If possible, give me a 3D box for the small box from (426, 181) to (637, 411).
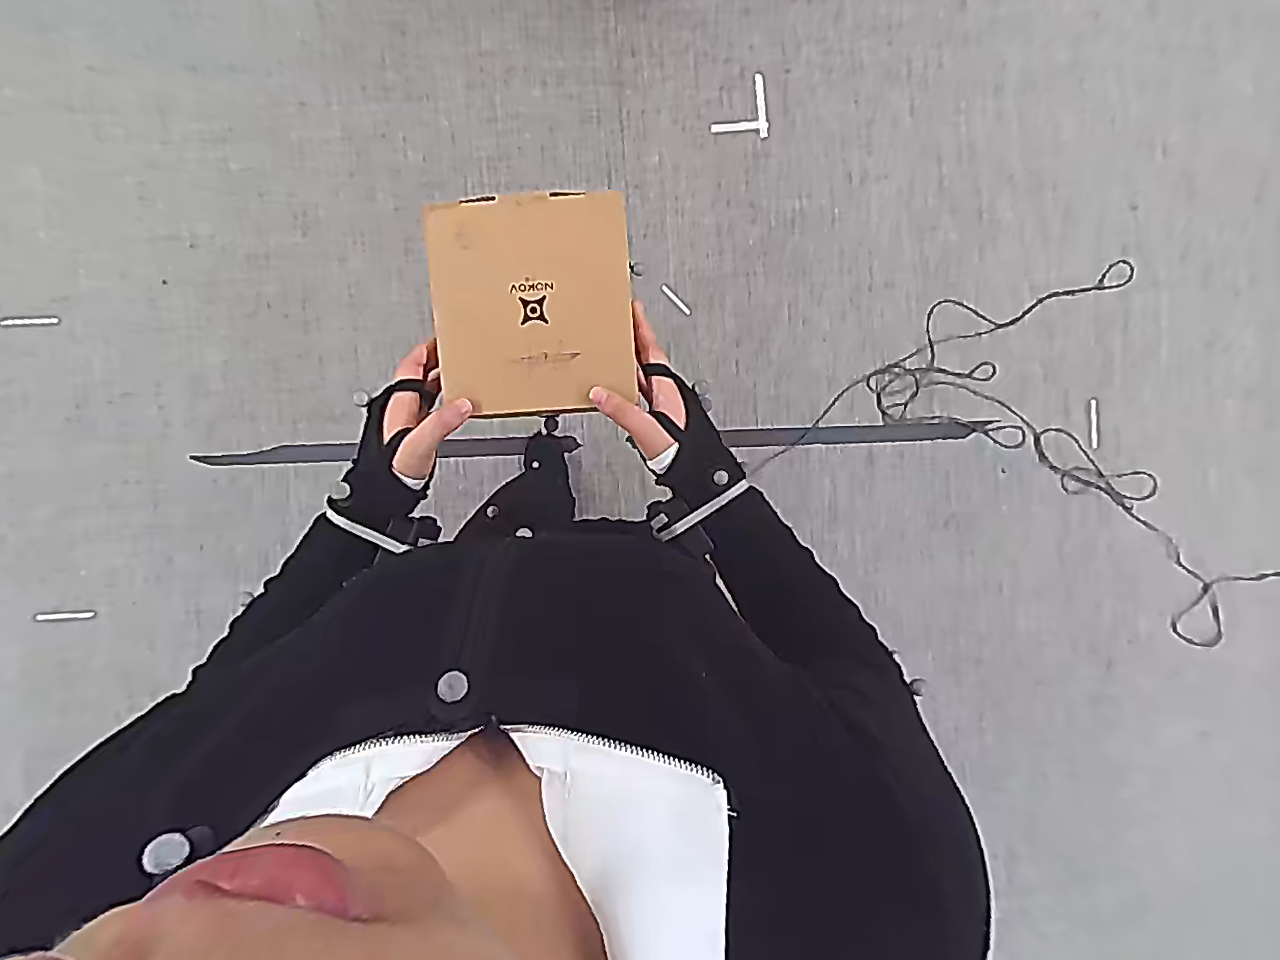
[{"bbox_3d":[-0.091,-0.162,0.528,0.168,0.176,0.179,-4,96,0],"label":"small box"}]
